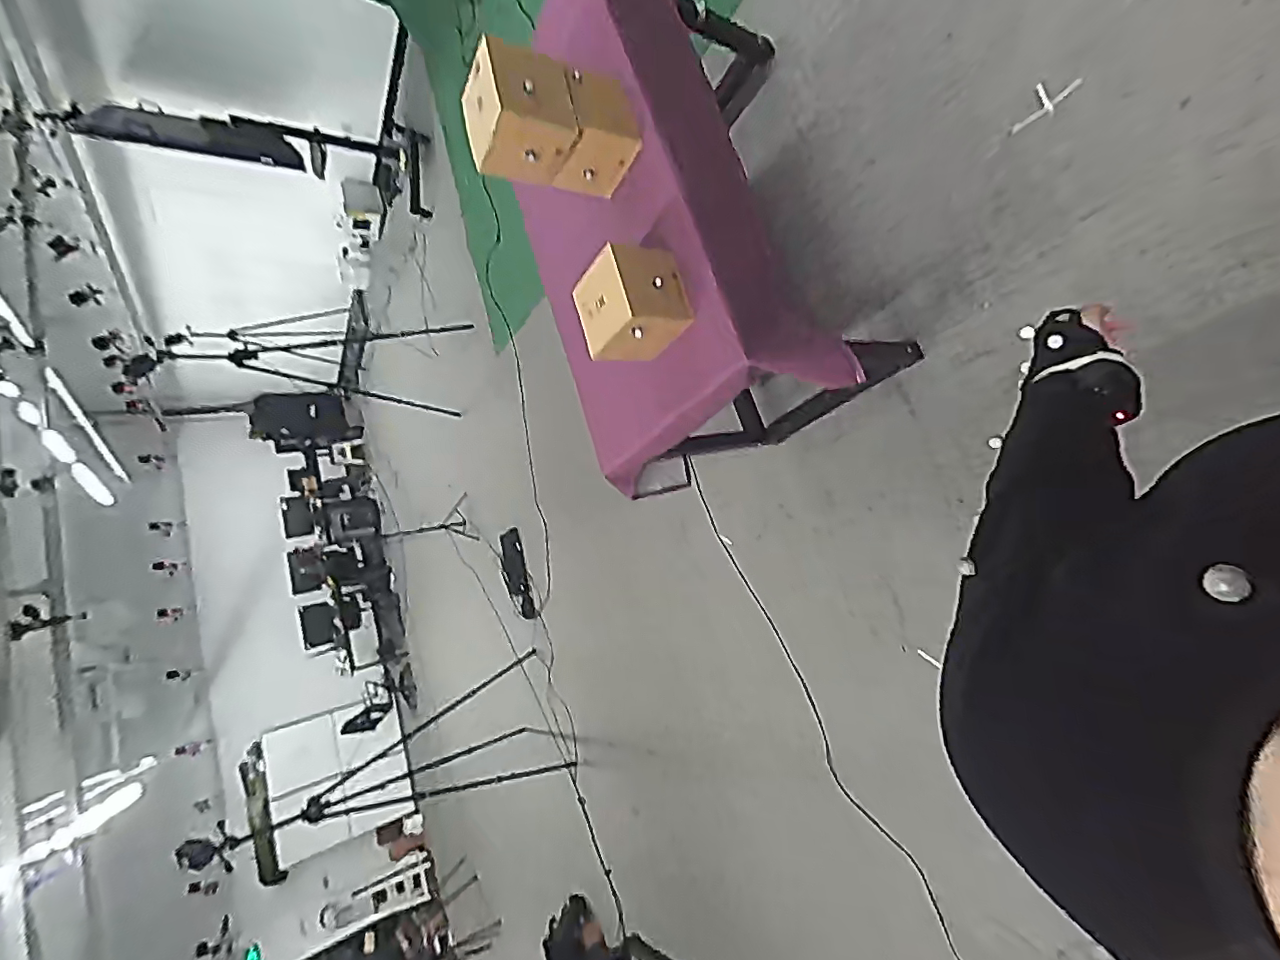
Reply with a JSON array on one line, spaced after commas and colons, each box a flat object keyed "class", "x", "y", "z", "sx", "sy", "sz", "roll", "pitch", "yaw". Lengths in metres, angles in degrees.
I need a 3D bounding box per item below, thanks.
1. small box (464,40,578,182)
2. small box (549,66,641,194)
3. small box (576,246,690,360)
[{"class": "small box", "x": -0.248, "y": -0.757, "z": 1.133, "sx": 0.168, "sy": 0.176, "sz": 0.179, "roll": -25, "pitch": 77, "yaw": 54}, {"class": "small box", "x": -0.119, "y": -0.783, "z": 1.232, "sx": 0.168, "sy": 0.176, "sz": 0.179, "roll": -33, "pitch": 70, "yaw": 53}, {"class": "small box", "x": -0.010, "y": -0.374, "z": 1.168, "sx": 0.179, "sy": 0.176, "sz": 0.168, "roll": -31, "pitch": 72, "yaw": 53}]
